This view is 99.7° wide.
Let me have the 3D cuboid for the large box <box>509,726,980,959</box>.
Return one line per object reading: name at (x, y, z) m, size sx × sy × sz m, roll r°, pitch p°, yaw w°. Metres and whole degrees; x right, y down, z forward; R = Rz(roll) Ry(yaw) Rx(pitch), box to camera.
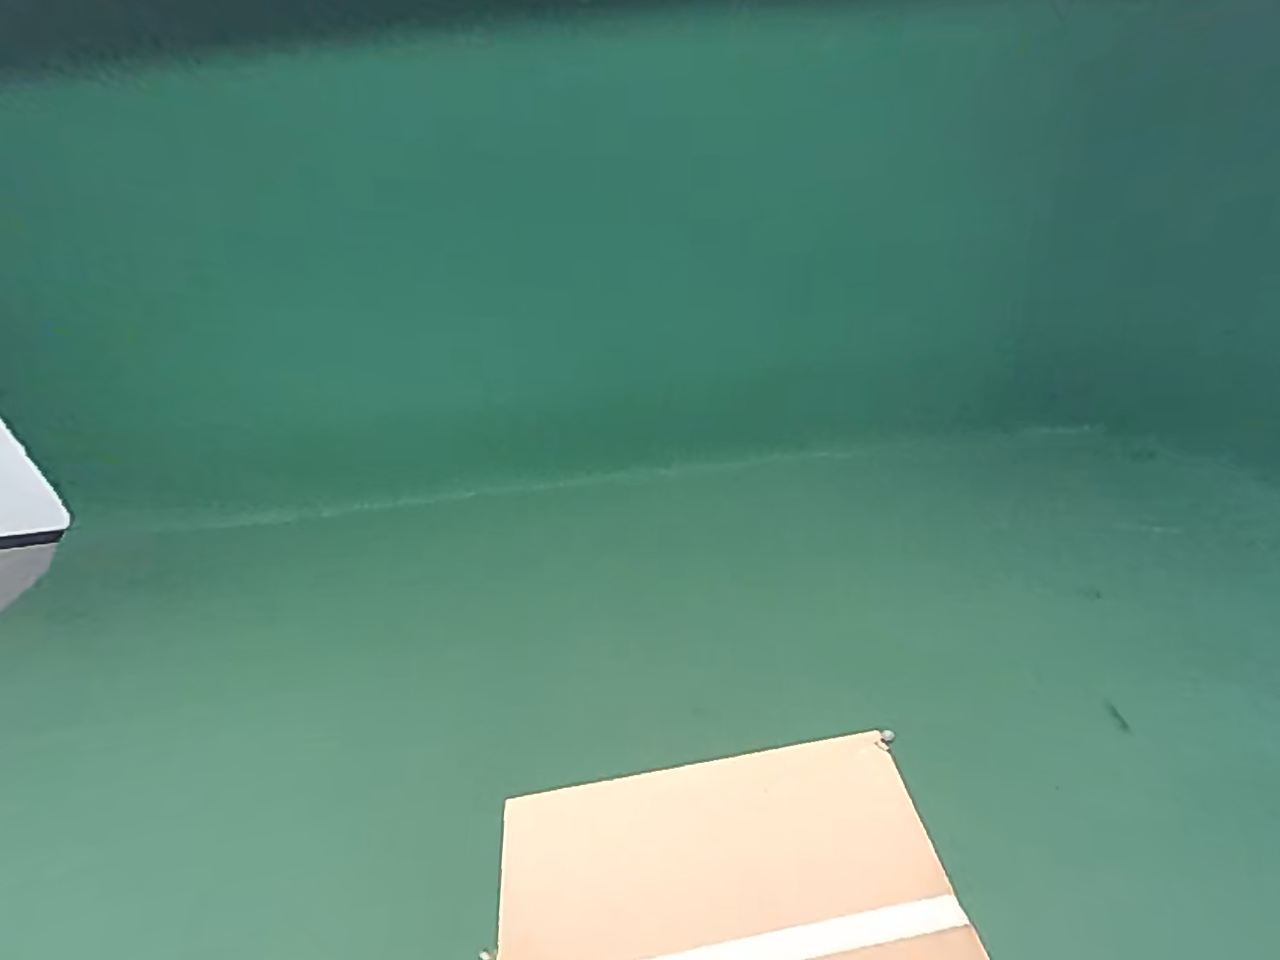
large box at (0.093, 0.514, 0.571) m, size 0.408 × 0.320 × 0.320 m, roll -9°, pitch 43°, yaw -4°
